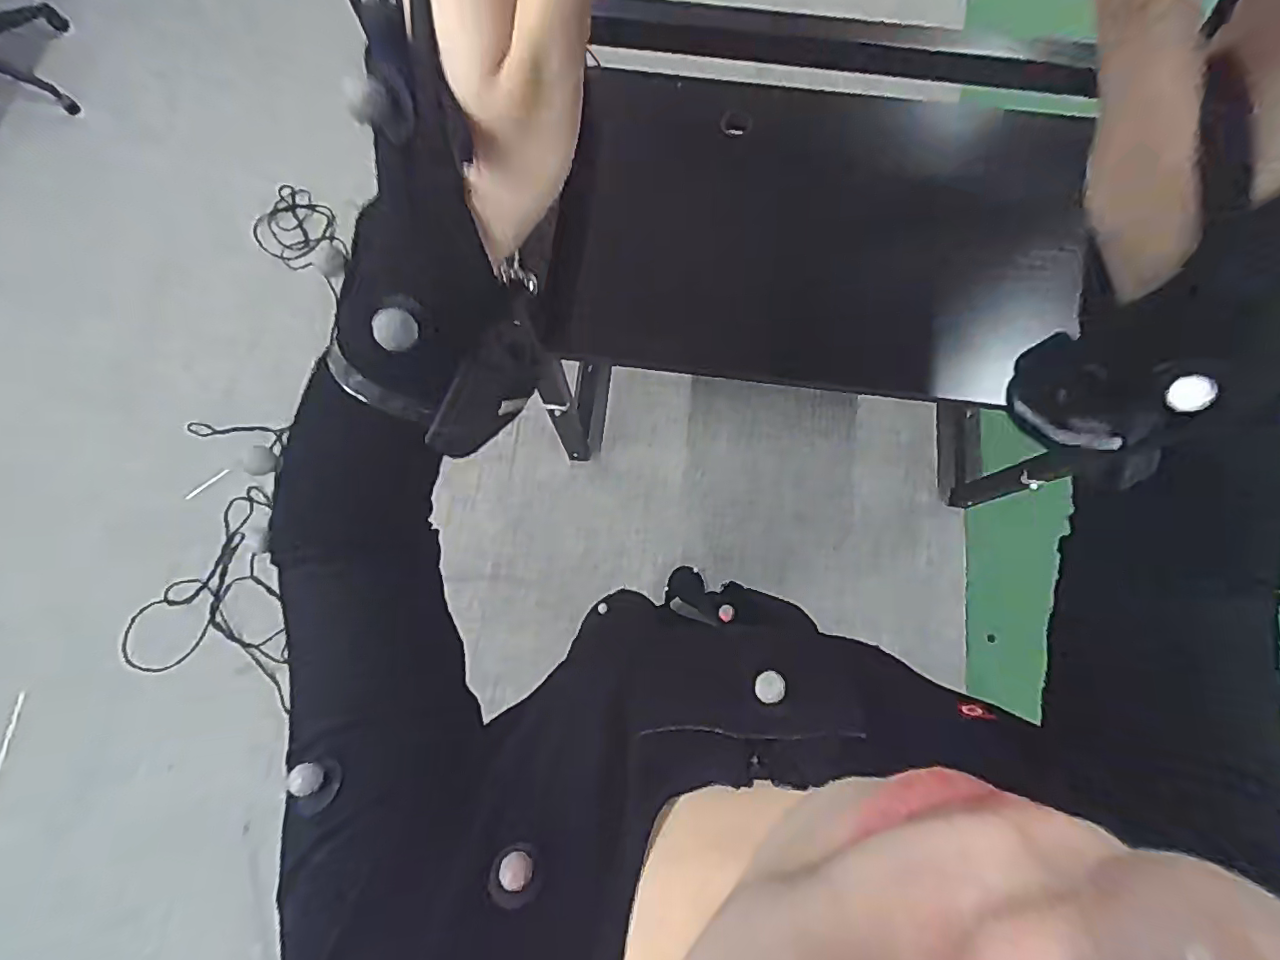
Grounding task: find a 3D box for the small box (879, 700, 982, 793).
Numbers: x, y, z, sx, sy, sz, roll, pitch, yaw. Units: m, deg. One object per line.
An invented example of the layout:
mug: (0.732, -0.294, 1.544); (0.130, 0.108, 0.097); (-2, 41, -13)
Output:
small box: (0.705, 0.647, 1.332); (0.179, 0.176, 0.168); (6, 76, 2)
